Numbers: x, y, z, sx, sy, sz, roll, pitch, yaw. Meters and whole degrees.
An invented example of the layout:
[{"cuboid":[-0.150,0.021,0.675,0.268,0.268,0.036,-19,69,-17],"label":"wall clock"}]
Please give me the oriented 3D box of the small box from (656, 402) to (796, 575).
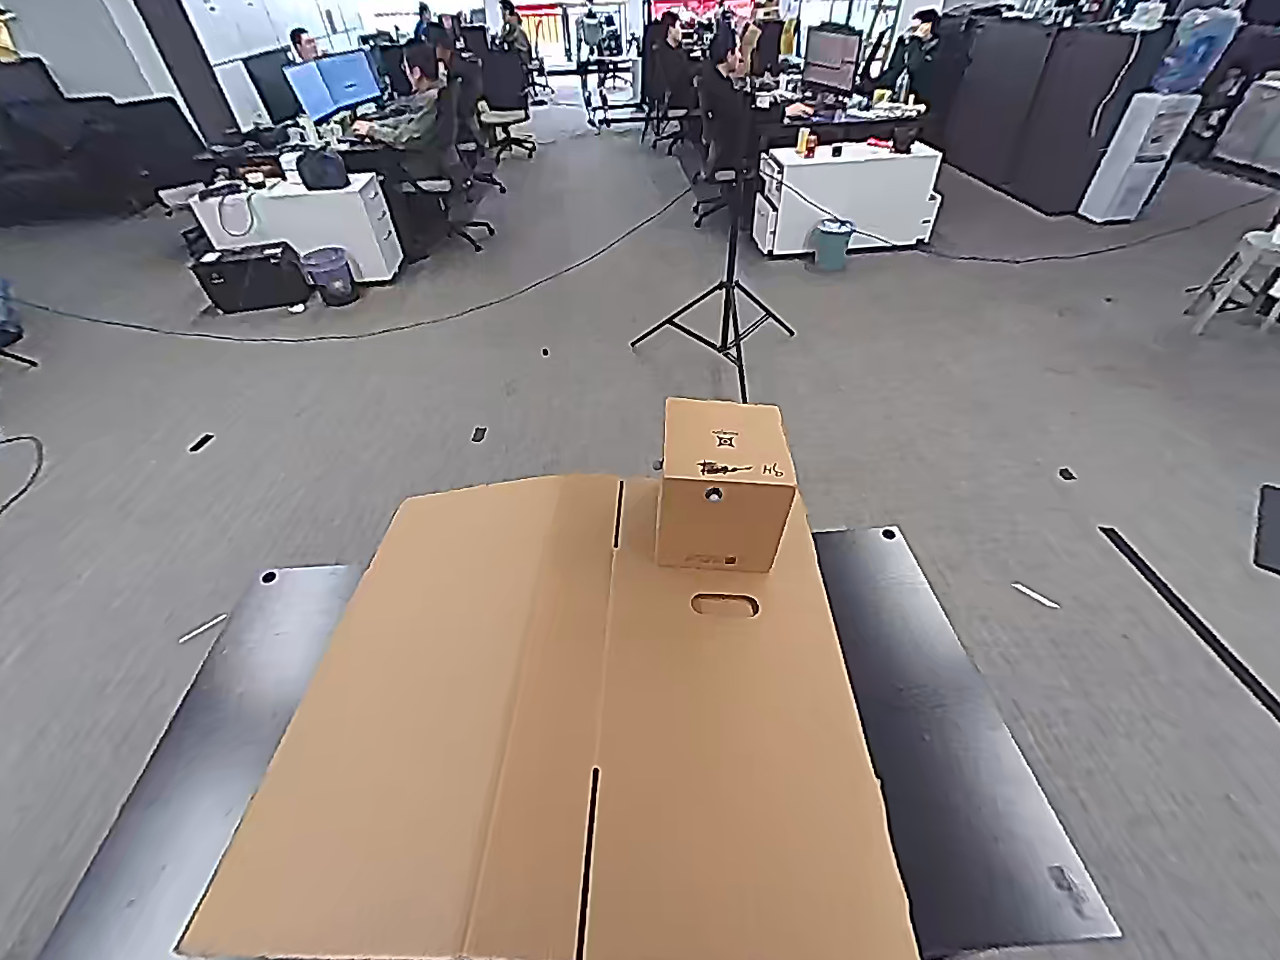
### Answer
[{"cuboid":[0.110,0.010,0.770,0.168,0.176,0.179,3,41,1],"label":"small box"}]
